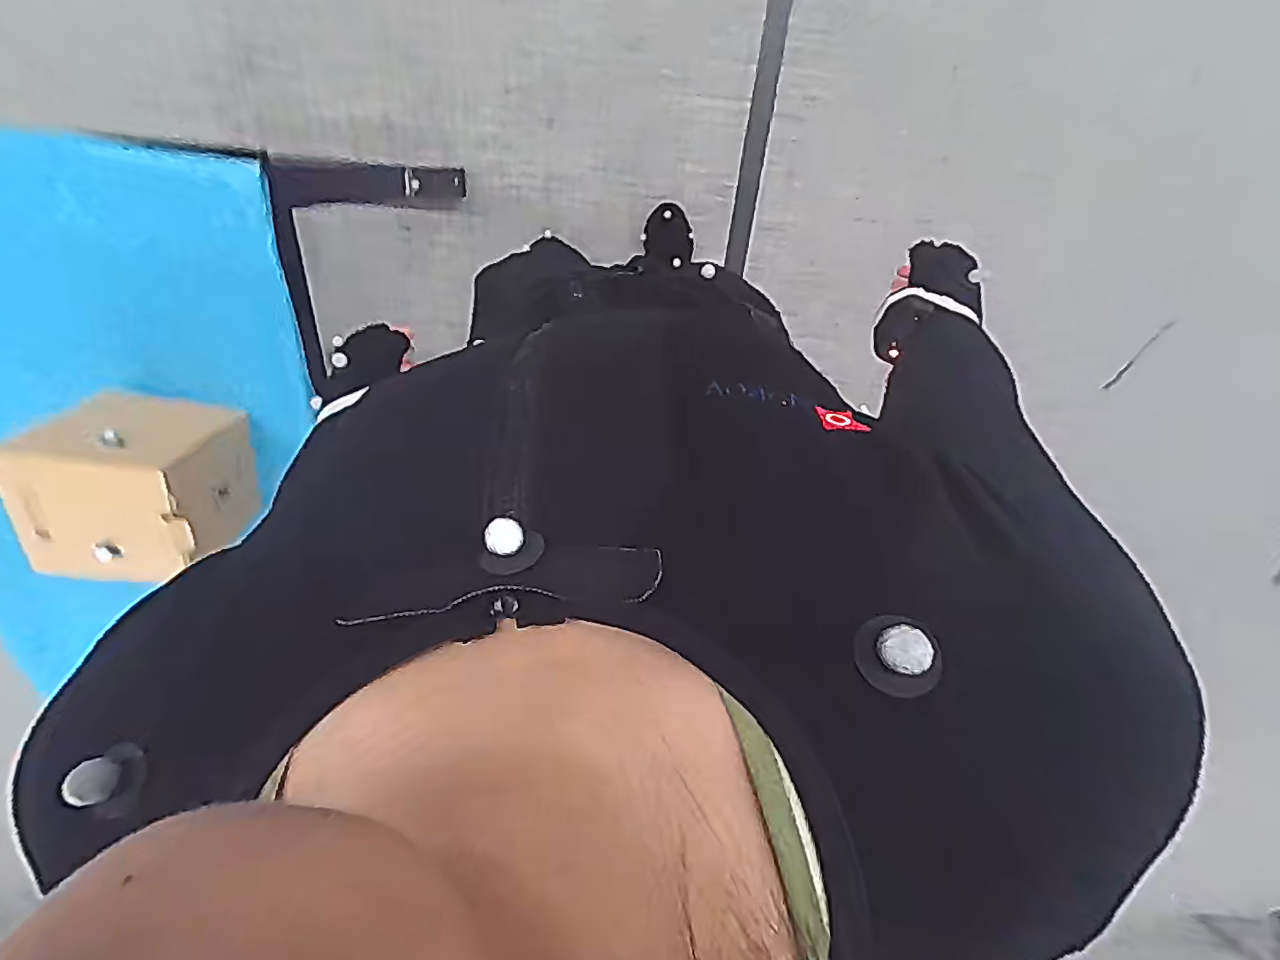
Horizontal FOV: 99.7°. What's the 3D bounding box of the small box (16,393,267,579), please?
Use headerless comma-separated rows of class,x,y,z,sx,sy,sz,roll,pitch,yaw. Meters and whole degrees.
small box,-0.618,0.003,0.688,0.176,0.179,0.168,8,119,-11
